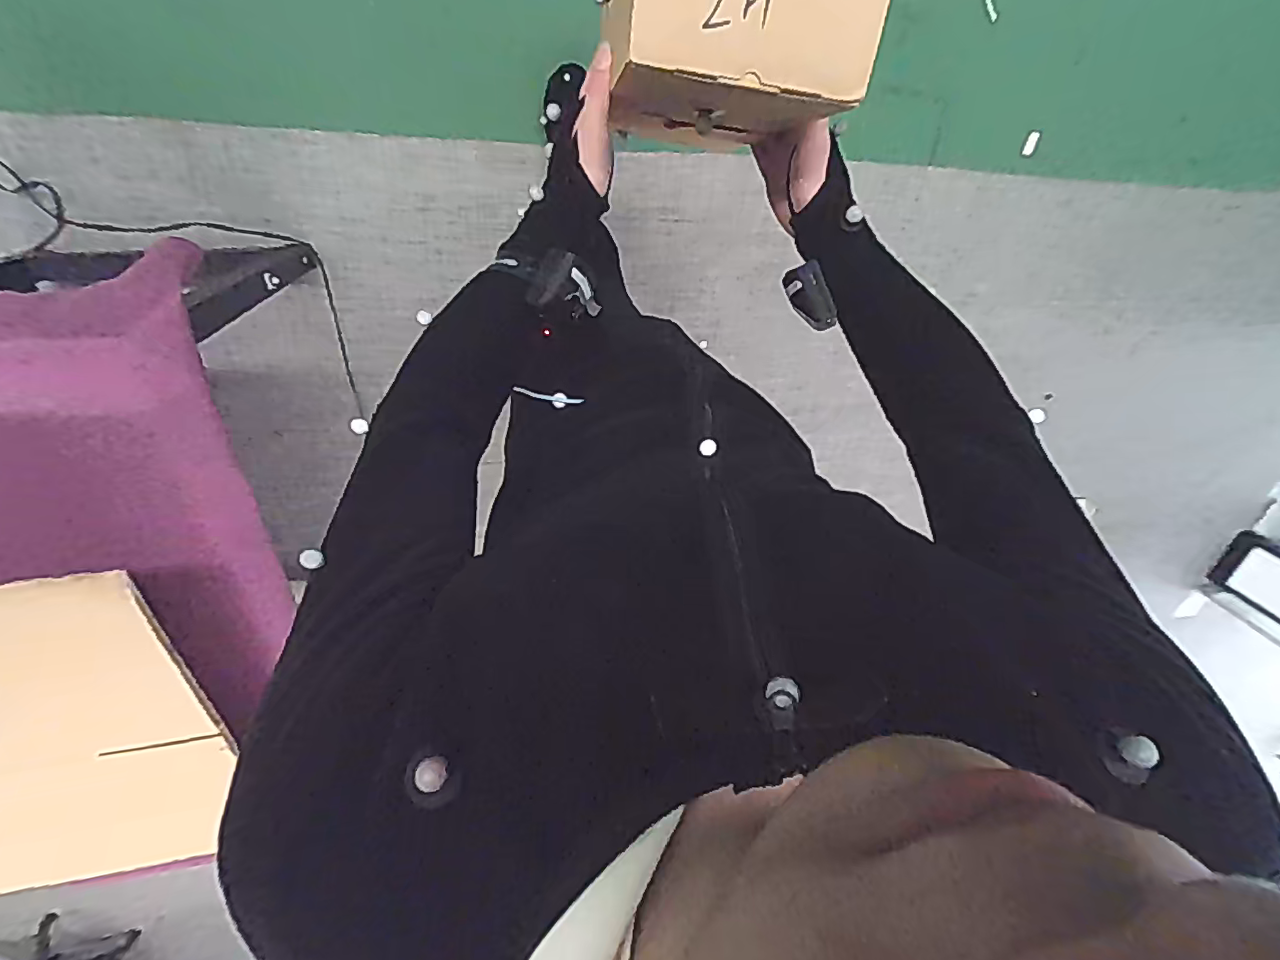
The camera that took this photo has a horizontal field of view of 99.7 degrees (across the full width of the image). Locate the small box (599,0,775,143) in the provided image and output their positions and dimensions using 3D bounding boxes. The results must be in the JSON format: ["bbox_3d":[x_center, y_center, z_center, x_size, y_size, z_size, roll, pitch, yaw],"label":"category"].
[{"bbox_3d":[0.051,-0.450,0.533,0.168,0.176,0.179,3,116,-11],"label":"small box"}]

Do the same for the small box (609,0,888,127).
[{"bbox_3d":[0.071,-0.378,0.387,0.168,0.176,0.179,3,116,-10],"label":"small box"}]
